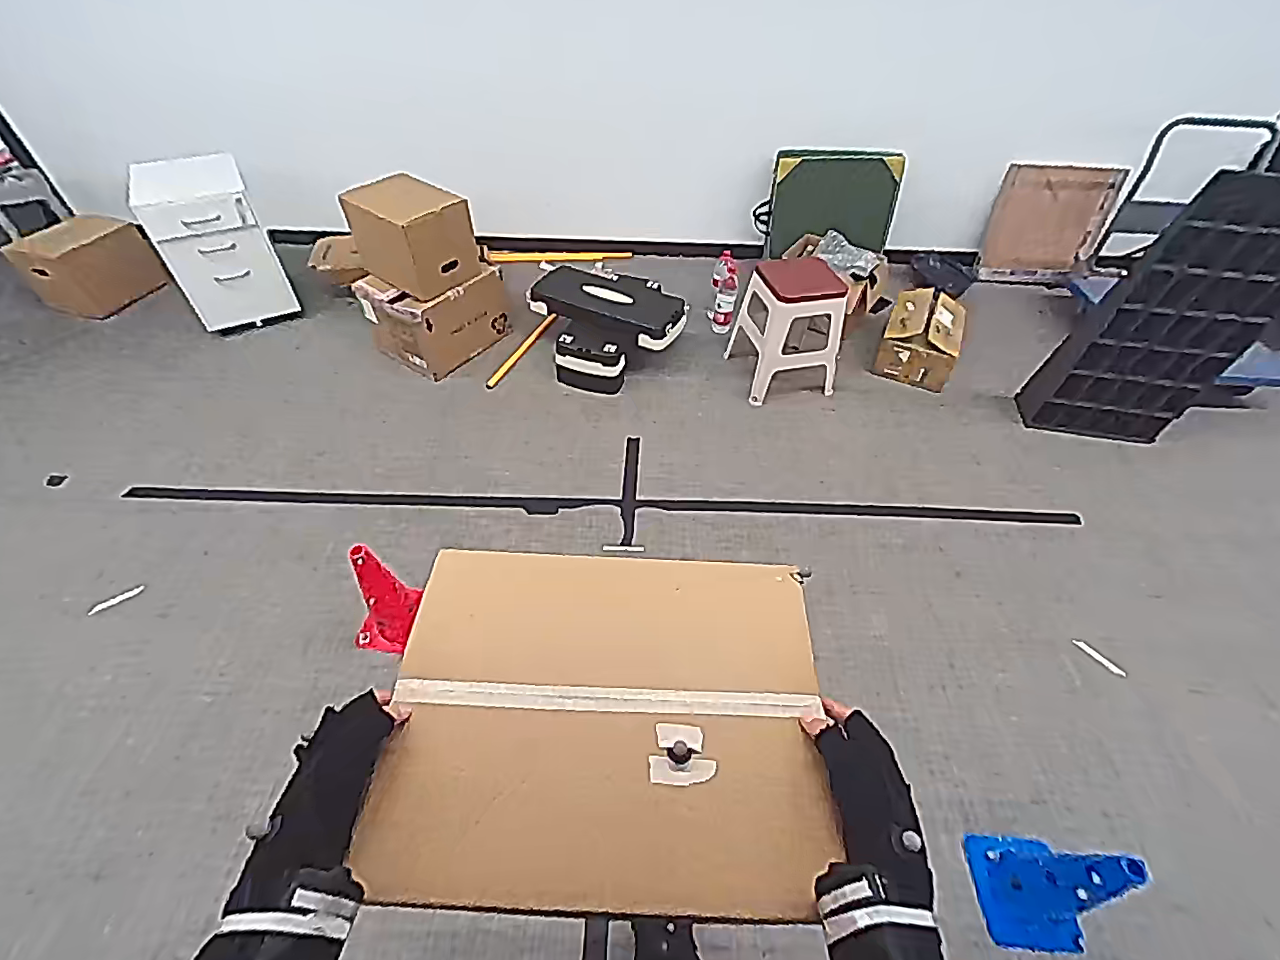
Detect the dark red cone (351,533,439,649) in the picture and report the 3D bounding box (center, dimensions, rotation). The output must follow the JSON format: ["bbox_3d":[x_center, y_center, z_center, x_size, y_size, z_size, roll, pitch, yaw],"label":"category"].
[{"bbox_3d":[-0.689,0.276,1.443,0.201,0.394,0.202,8,48,4],"label":"dark red cone"}]

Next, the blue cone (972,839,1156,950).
[{"bbox_3d":[0.853,0.799,1.070,0.192,0.380,0.193,6,48,2],"label":"blue cone"}]

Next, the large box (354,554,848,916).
[{"bbox_3d":[-0.033,0.306,0.636,0.408,0.320,0.320,3,51,0],"label":"large box"}]
